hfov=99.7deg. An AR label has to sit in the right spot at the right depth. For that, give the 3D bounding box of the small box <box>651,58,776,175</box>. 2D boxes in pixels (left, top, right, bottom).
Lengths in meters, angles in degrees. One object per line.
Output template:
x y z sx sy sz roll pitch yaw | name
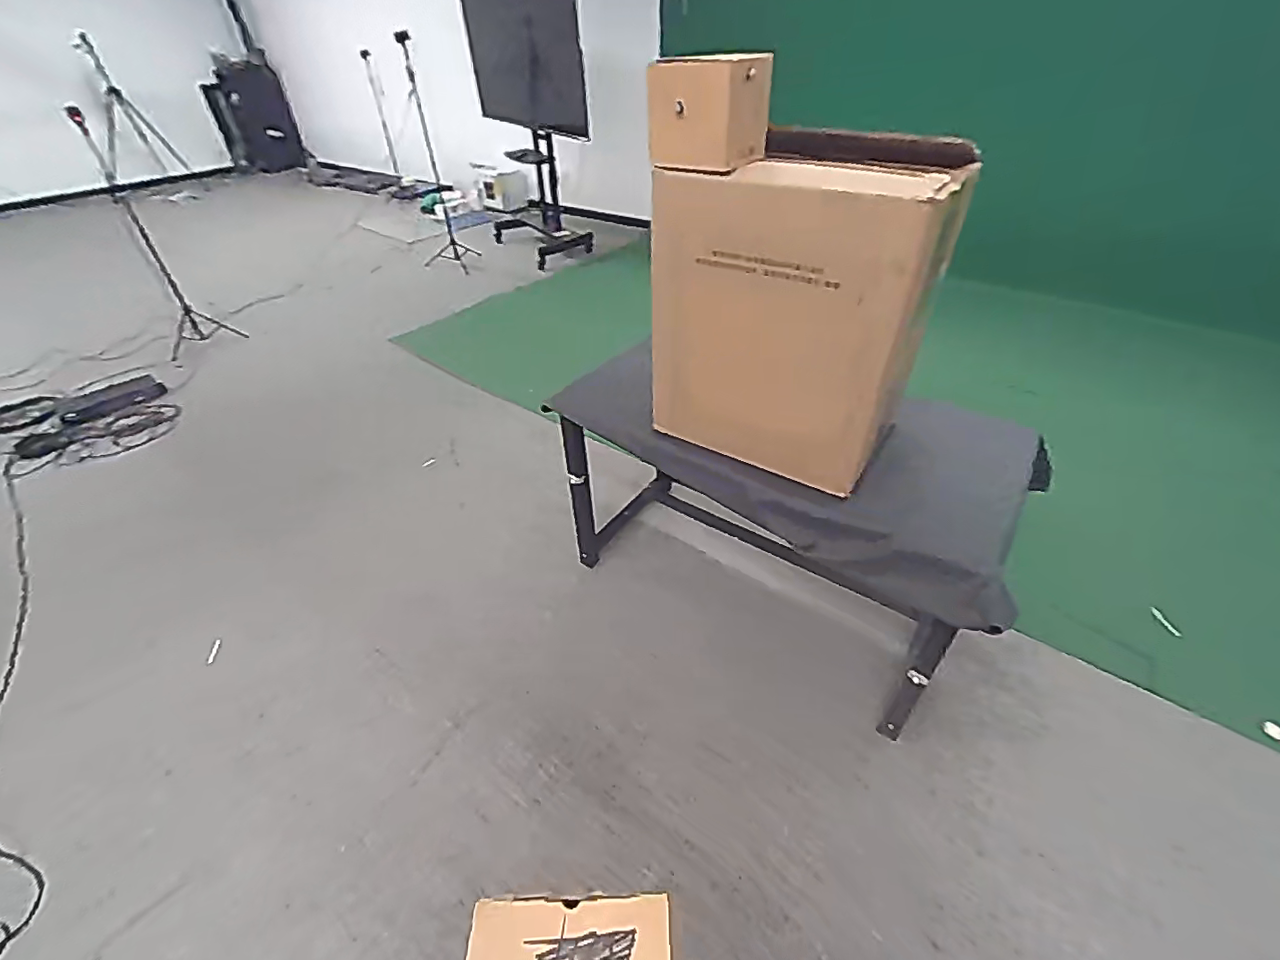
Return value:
0.138 -0.694 1.033 0.179 0.176 0.168 23 47 28 | small box
